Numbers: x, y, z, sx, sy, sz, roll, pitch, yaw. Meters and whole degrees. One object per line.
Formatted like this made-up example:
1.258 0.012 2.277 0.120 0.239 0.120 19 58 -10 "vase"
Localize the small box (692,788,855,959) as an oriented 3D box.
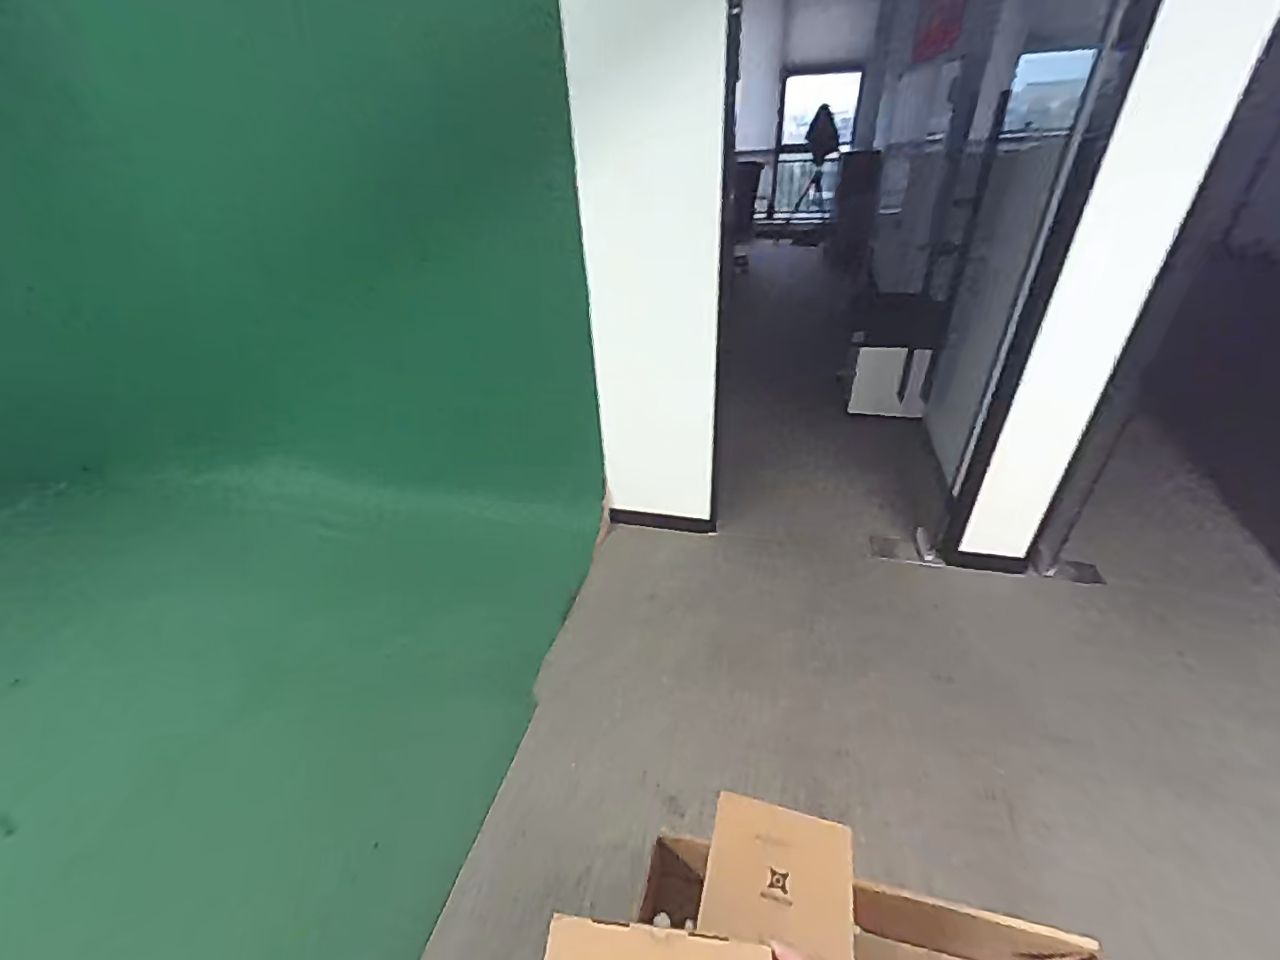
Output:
0.163 0.530 0.667 0.168 0.176 0.179 9 35 15 "small box"
